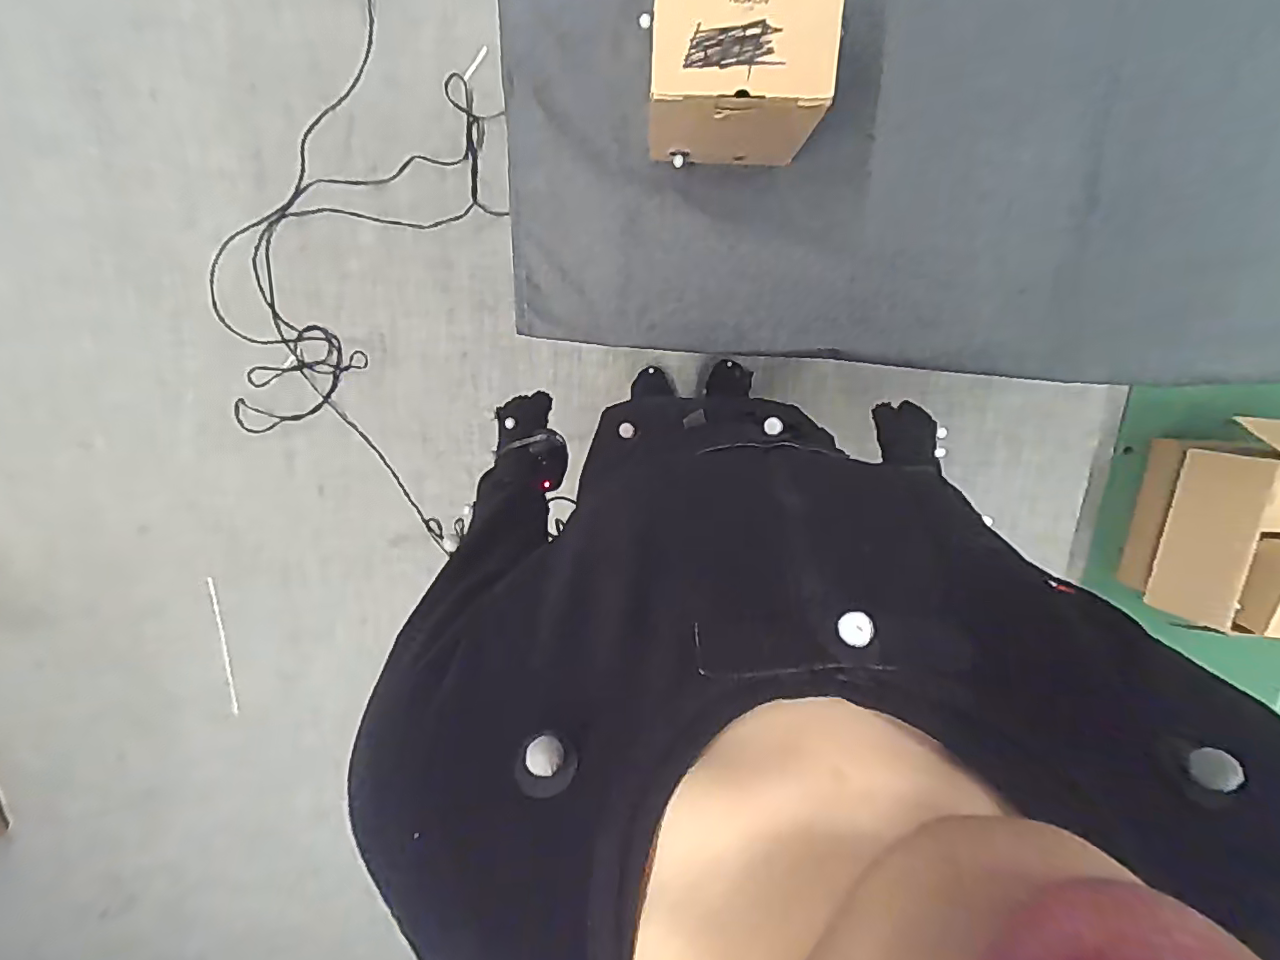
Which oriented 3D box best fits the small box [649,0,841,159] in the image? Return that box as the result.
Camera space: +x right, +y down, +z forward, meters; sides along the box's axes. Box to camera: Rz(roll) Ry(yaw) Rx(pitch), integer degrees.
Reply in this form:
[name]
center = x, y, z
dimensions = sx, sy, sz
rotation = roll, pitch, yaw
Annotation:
[small box]
center = 0.096, -0.446, 0.545
dimensions = 0.168, 0.176, 0.179
rotation = 2, 103, 1
